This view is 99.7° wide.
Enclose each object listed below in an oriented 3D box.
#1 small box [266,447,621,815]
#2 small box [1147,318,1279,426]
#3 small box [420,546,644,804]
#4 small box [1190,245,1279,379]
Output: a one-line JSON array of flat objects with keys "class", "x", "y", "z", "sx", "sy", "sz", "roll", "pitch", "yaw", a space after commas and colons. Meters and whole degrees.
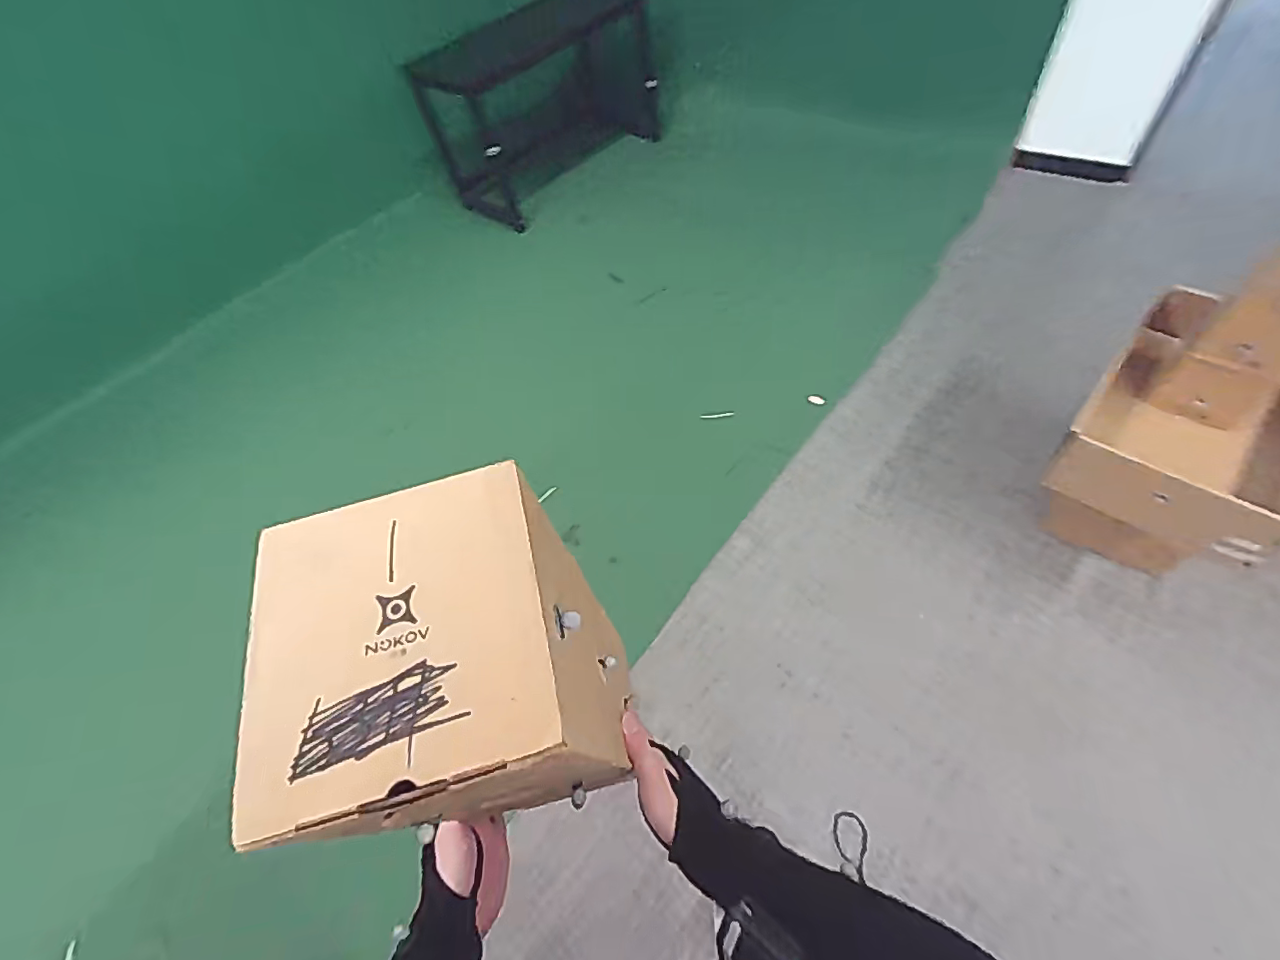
[{"class": "small box", "x": -0.117, "y": 0.109, "z": 0.377, "sx": 0.168, "sy": 0.176, "sz": 0.179, "roll": -15, "pitch": 60, "yaw": -2}, {"class": "small box", "x": 1.348, "y": -0.261, "z": 1.262, "sx": 0.168, "sy": 0.176, "sz": 0.179, "roll": 34, "pitch": 69, "yaw": 29}, {"class": "small box", "x": -0.098, "y": 0.190, "z": 0.518, "sx": 0.168, "sy": 0.176, "sz": 0.179, "roll": -14, "pitch": 60, "yaw": -2}, {"class": "small box", "x": 1.318, "y": -0.347, "z": 1.128, "sx": 0.168, "sy": 0.176, "sz": 0.179, "roll": 34, "pitch": 70, "yaw": 28}]
